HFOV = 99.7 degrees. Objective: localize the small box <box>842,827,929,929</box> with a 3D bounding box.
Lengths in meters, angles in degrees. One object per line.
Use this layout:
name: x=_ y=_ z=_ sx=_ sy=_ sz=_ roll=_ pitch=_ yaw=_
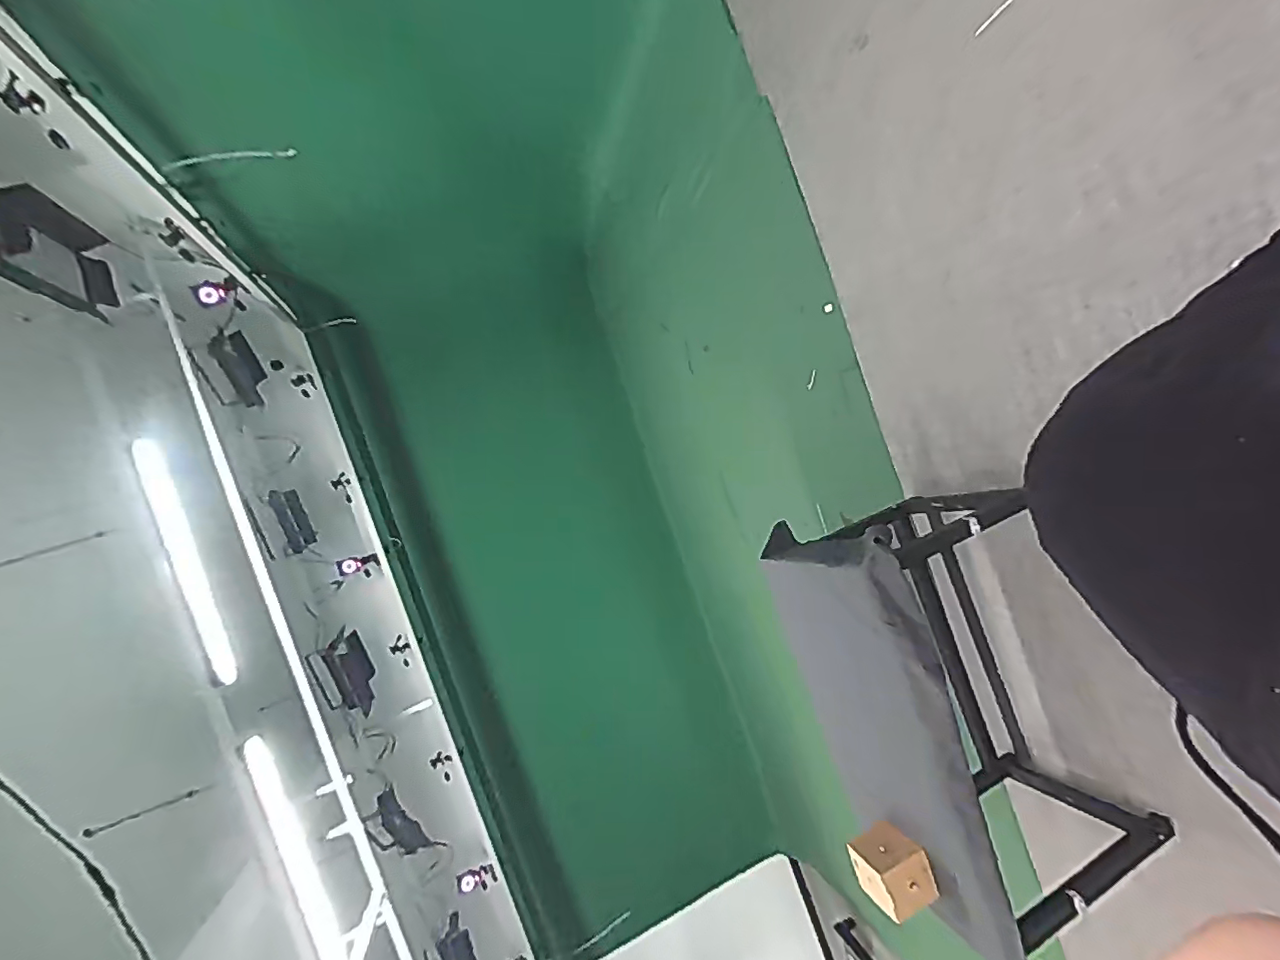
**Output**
small box: x=0.789 y=1.258 z=1.729 sx=0.179 sy=0.176 sz=0.168 roll=166 pitch=85 yaw=-73
